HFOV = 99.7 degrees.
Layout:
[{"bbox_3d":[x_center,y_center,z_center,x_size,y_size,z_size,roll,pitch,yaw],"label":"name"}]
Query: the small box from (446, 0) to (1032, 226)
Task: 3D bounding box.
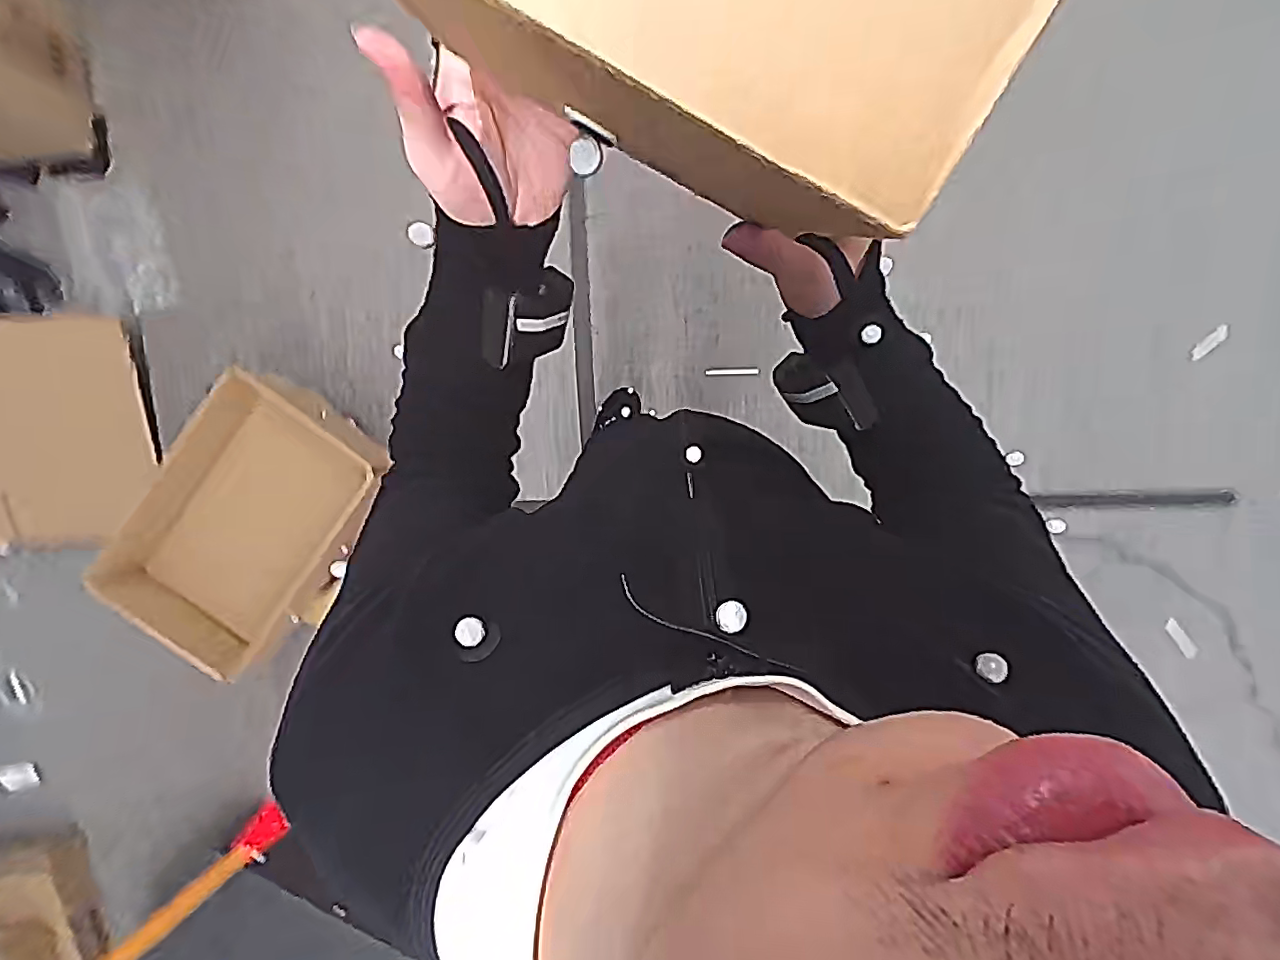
[{"bbox_3d":[0.033,-0.207,0.176,0.168,0.176,0.179,23,113,-12],"label":"small box"}]
